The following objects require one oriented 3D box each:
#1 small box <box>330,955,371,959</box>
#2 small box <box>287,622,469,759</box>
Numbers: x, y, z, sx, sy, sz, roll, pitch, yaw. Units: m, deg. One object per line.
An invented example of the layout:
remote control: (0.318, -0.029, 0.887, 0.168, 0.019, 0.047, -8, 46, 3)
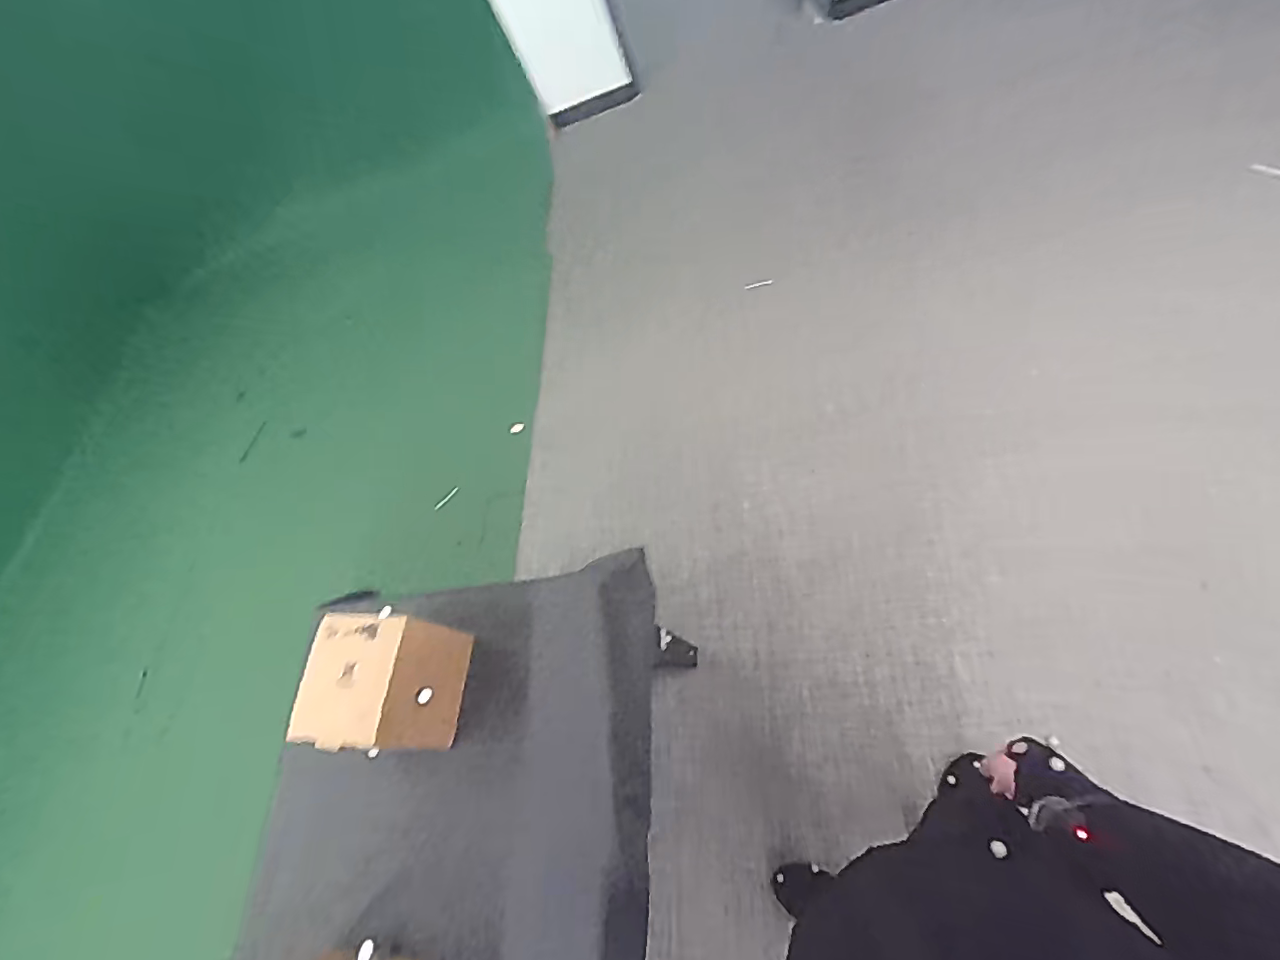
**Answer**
small box: (-0.395, 0.719, 0.653, 0.168, 0.176, 0.179, -10, 61, 16)
small box: (-0.392, 0.325, 0.840, 0.168, 0.176, 0.179, -4, 65, 19)
